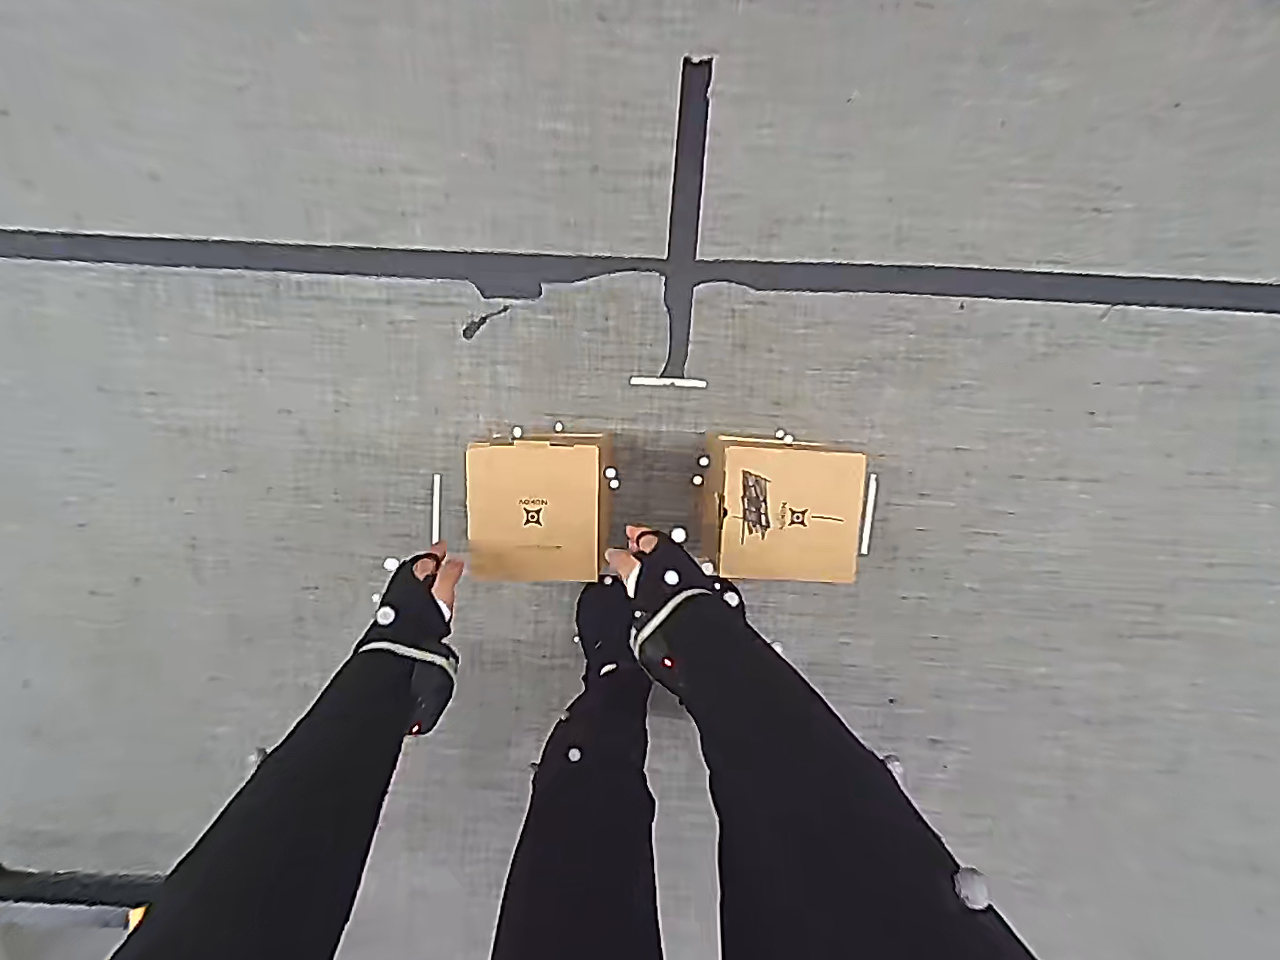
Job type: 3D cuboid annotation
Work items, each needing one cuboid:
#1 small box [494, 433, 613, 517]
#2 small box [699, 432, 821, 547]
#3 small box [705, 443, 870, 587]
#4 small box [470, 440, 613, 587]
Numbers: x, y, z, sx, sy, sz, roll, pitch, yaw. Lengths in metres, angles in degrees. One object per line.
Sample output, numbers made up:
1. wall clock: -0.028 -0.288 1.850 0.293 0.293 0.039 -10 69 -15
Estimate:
1. small box: -0.135 0.007 0.908 0.179 0.176 0.168 0 97 1
2. small box: 0.193 0.018 0.910 0.168 0.176 0.179 5 98 0
3. small box: 0.188 0.039 0.745 0.179 0.176 0.168 3 97 -2
4. small box: -0.127 0.036 0.748 0.168 0.176 0.179 1 99 2
